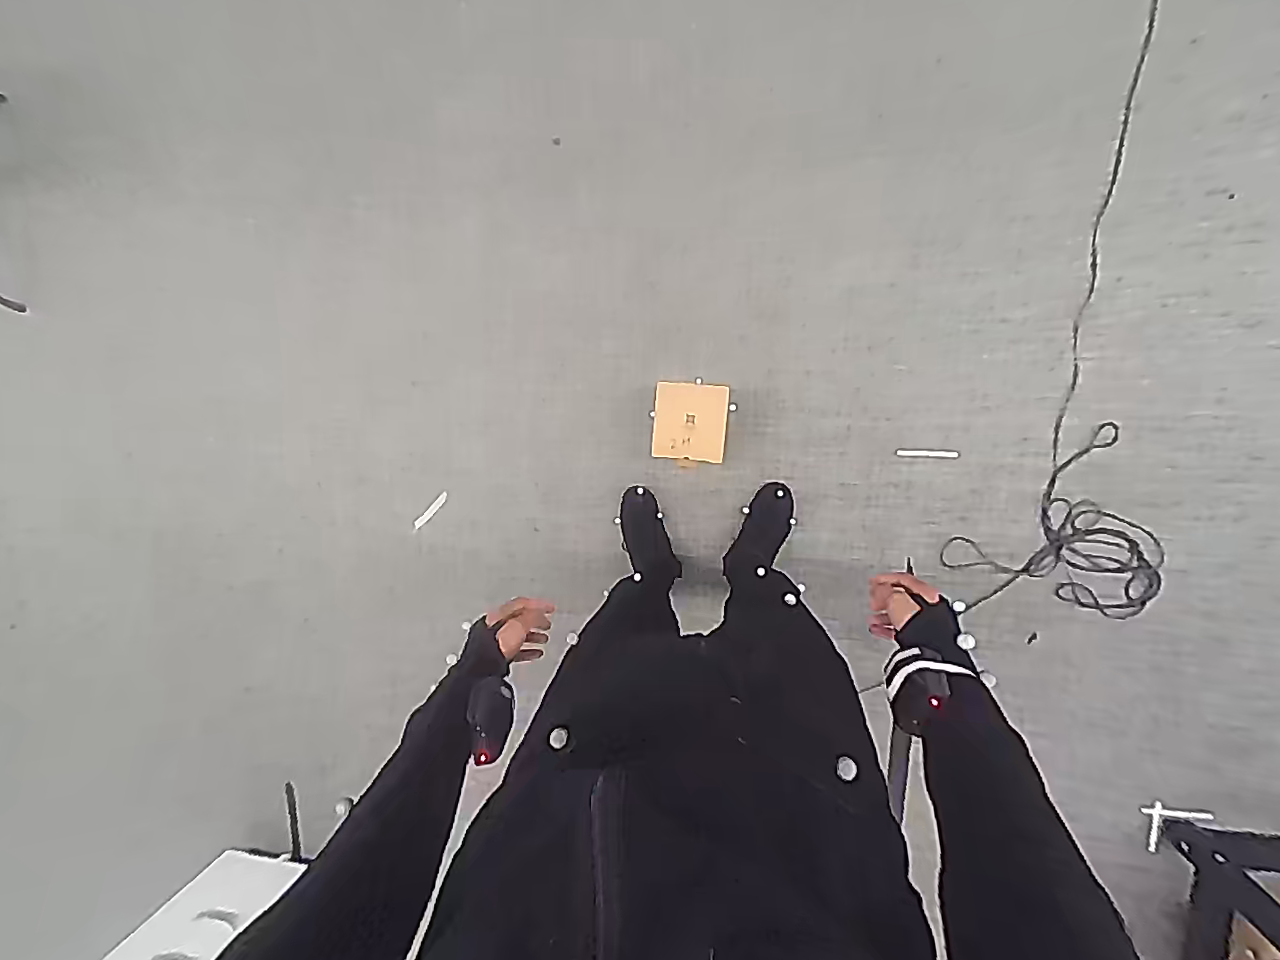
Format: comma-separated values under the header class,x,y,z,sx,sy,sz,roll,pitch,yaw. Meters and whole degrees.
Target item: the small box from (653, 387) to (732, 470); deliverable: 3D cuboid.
class,x,y,z,sx,sy,sz,roll,pitch,yaw
small box,0.131,-0.126,1.303,0.168,0.176,0.179,6,98,10
